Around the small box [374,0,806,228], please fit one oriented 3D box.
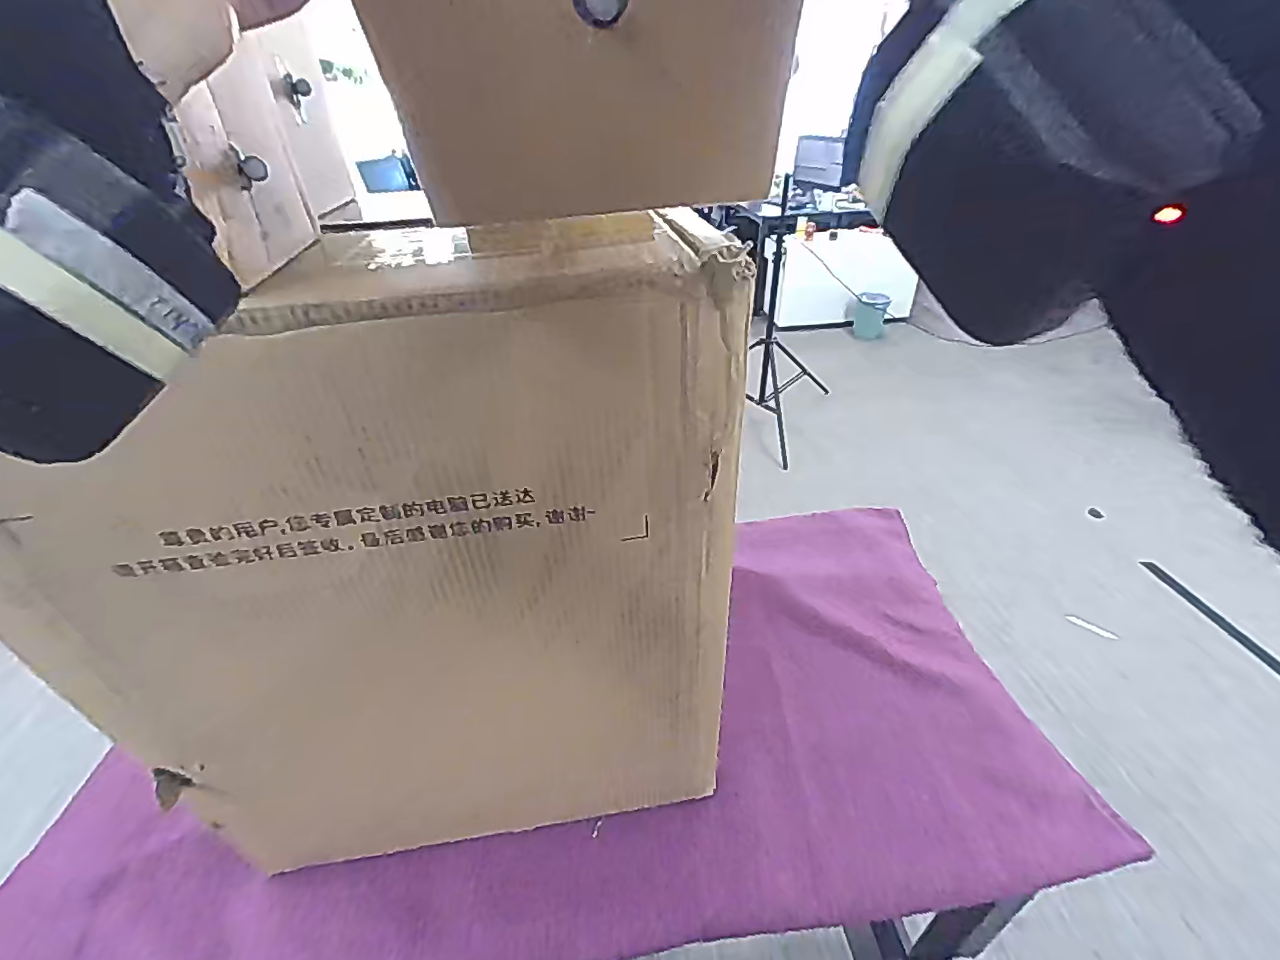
[{"bbox_3d":[-0.026,-0.246,0.239,0.168,0.176,0.179,-6,59,-2],"label":"small box"}]
